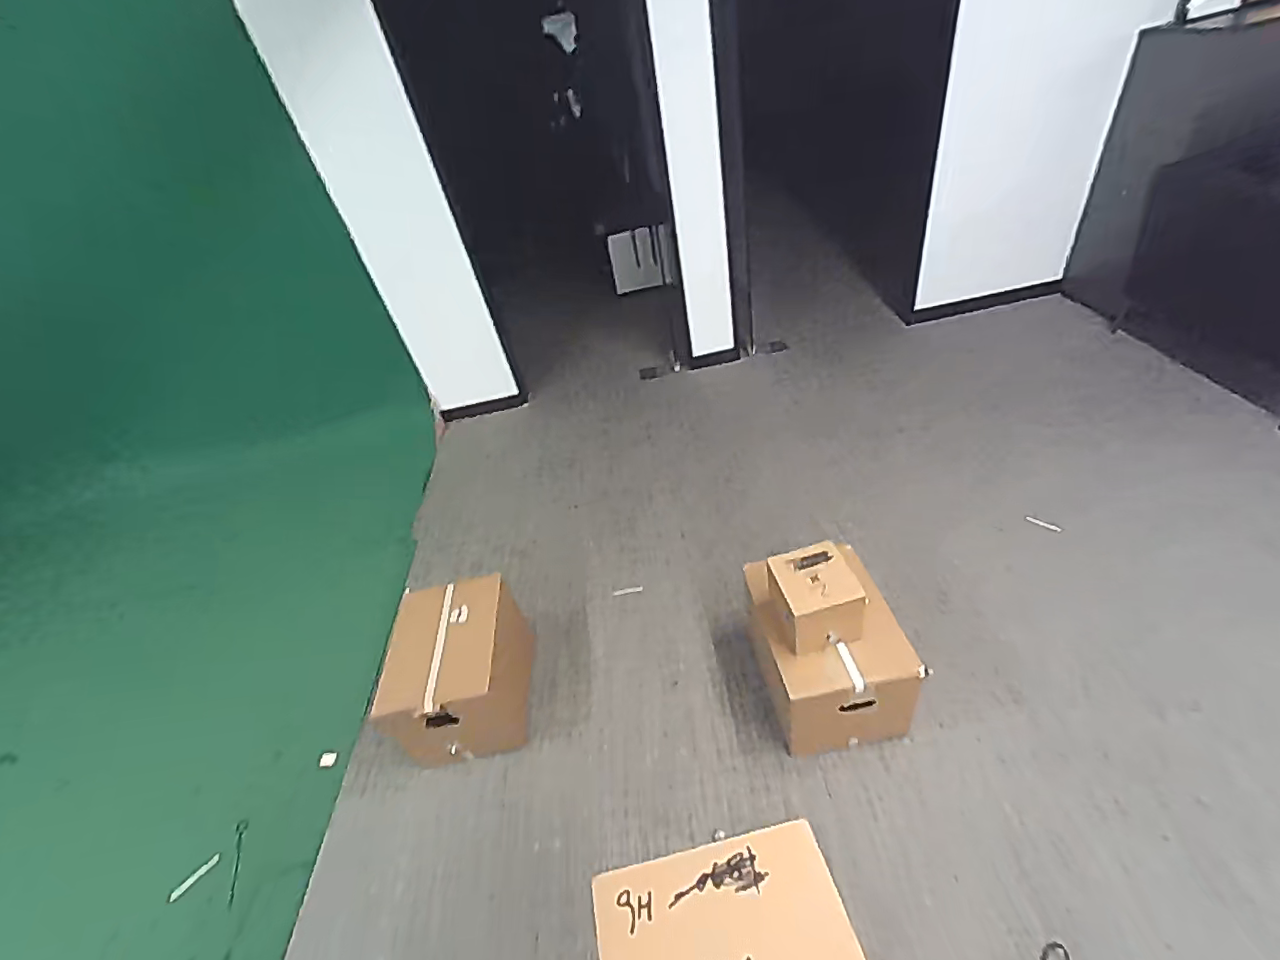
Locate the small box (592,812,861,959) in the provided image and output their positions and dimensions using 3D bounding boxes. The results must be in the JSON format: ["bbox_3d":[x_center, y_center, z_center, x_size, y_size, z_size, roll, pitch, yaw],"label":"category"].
[{"bbox_3d":[0.068,0.378,0.387,0.168,0.176,0.179,-11,40,-6],"label":"small box"}]

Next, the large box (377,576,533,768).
[{"bbox_3d":[-0.516,0.564,1.608,0.320,0.320,0.408,-13,39,2],"label":"large box"}]
